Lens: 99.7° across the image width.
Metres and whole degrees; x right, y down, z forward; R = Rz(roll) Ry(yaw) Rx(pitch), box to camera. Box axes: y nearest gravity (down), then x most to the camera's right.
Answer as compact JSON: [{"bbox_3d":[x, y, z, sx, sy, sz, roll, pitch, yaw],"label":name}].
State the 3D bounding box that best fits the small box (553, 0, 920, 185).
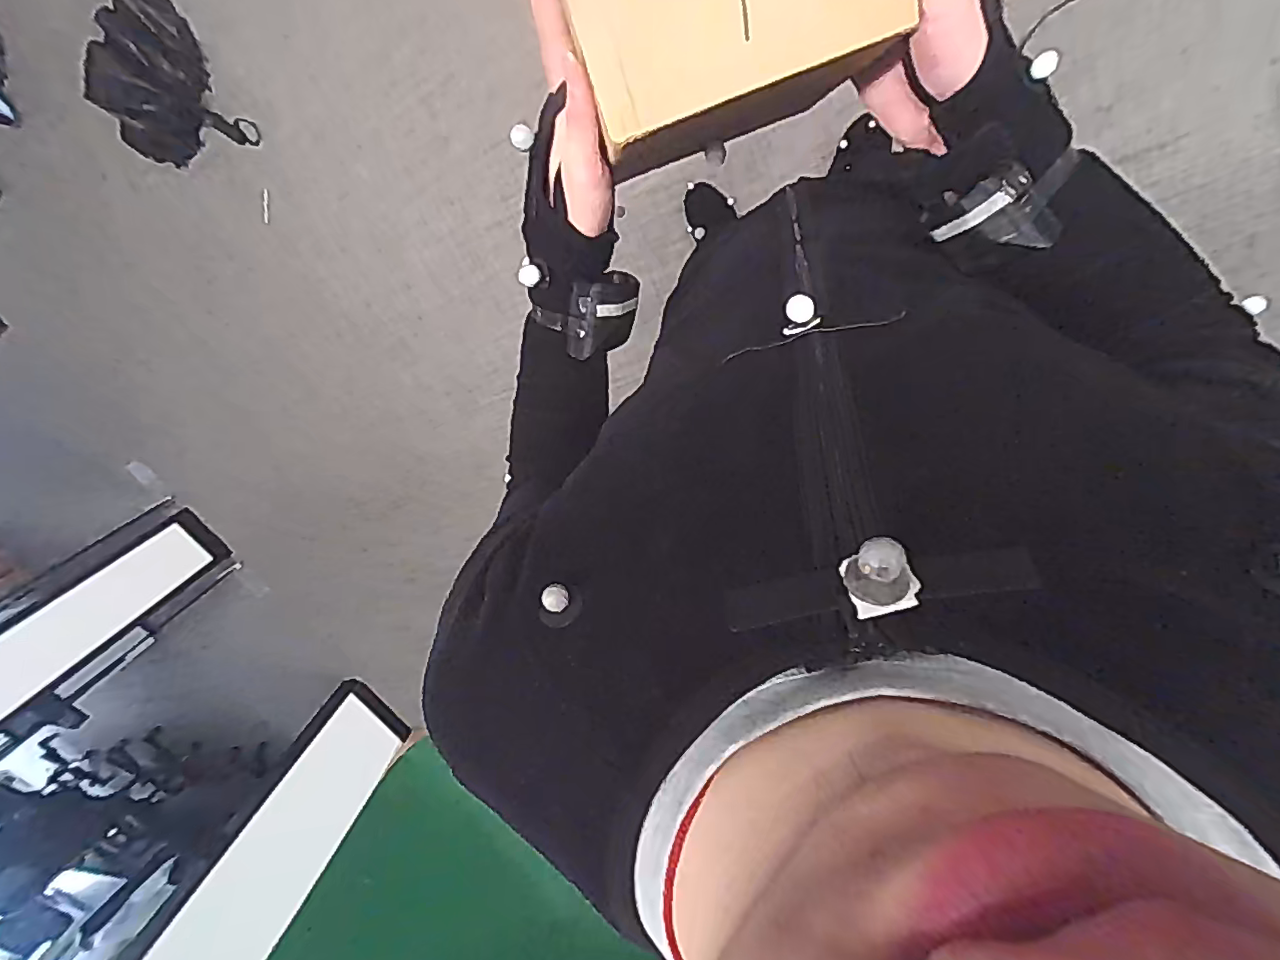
[{"bbox_3d":[0.033,-0.304,0.322,0.168,0.176,0.179,-19,112,4],"label":"small box"}]
